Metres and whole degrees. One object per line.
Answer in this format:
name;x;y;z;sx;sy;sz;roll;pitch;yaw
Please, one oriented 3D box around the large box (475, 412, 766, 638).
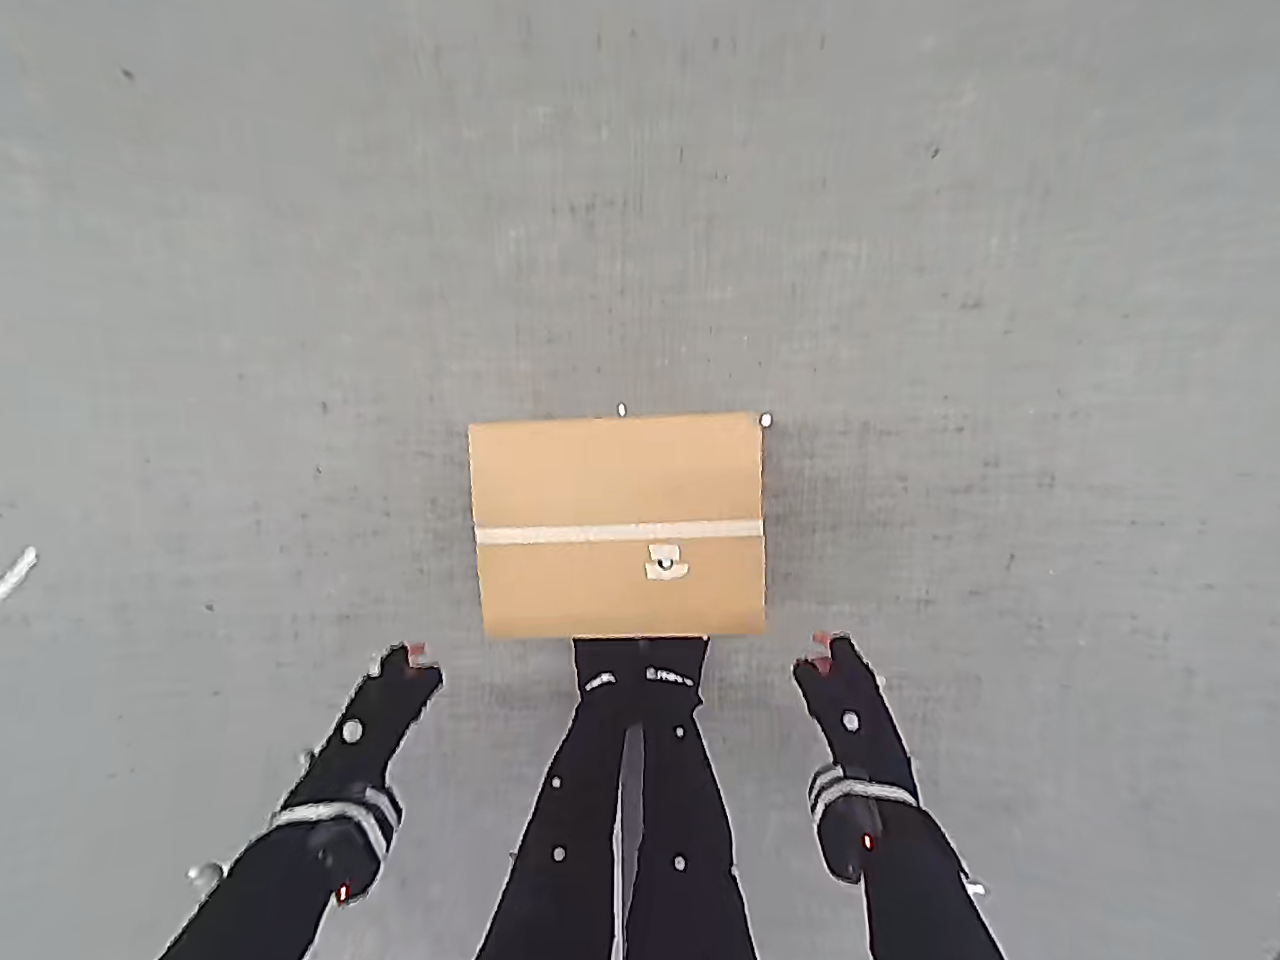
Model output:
large box;-0.021;0.054;0.909;0.408;0.320;0.320;-2;97;3
